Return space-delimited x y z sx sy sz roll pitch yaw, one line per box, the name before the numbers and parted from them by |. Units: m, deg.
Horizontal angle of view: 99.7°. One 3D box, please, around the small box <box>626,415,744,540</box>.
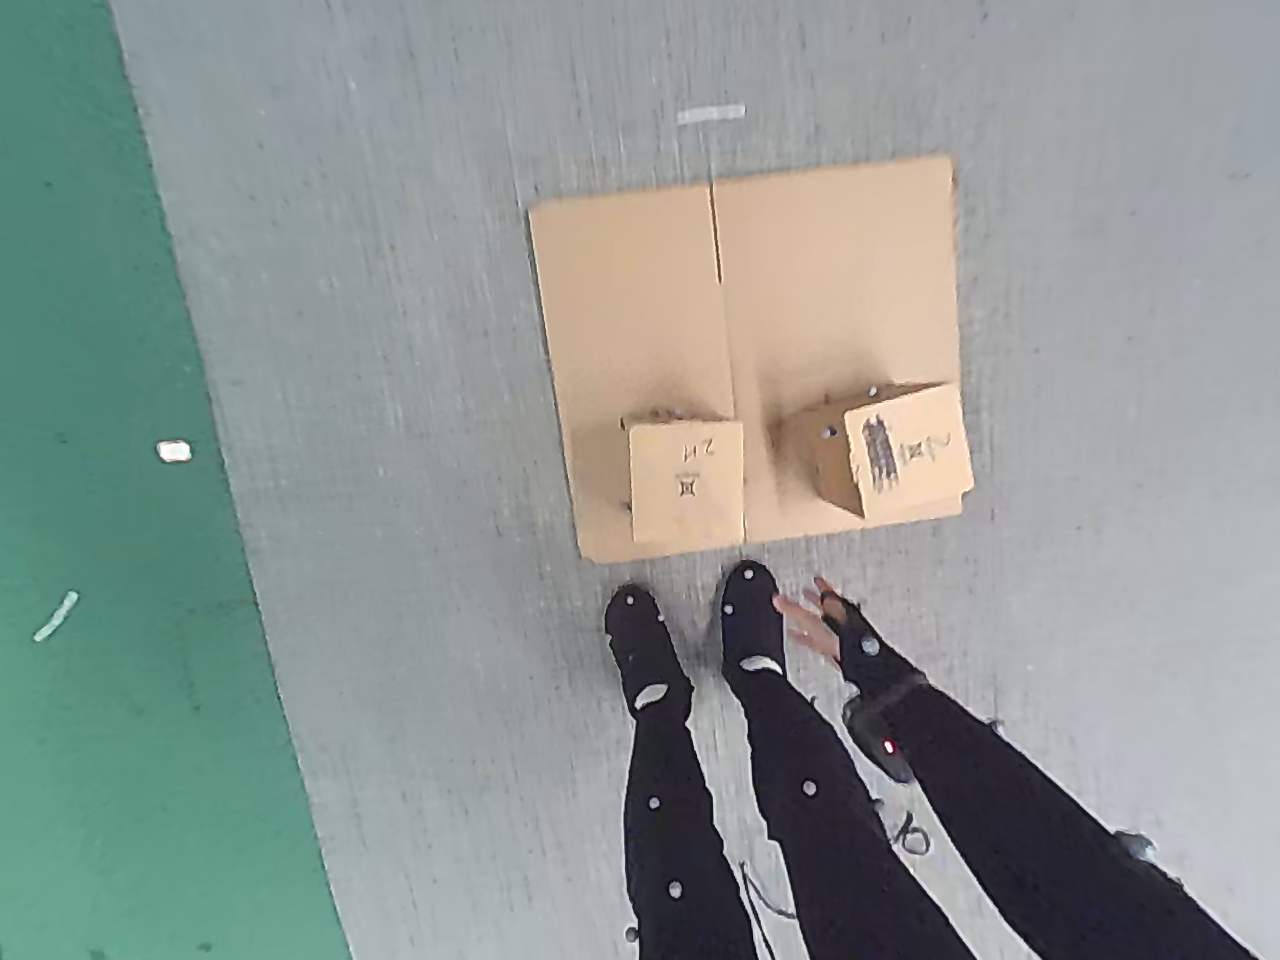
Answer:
small box | 0.064 -0.011 0.862 0.168 0.176 0.179 -2 99 -4
